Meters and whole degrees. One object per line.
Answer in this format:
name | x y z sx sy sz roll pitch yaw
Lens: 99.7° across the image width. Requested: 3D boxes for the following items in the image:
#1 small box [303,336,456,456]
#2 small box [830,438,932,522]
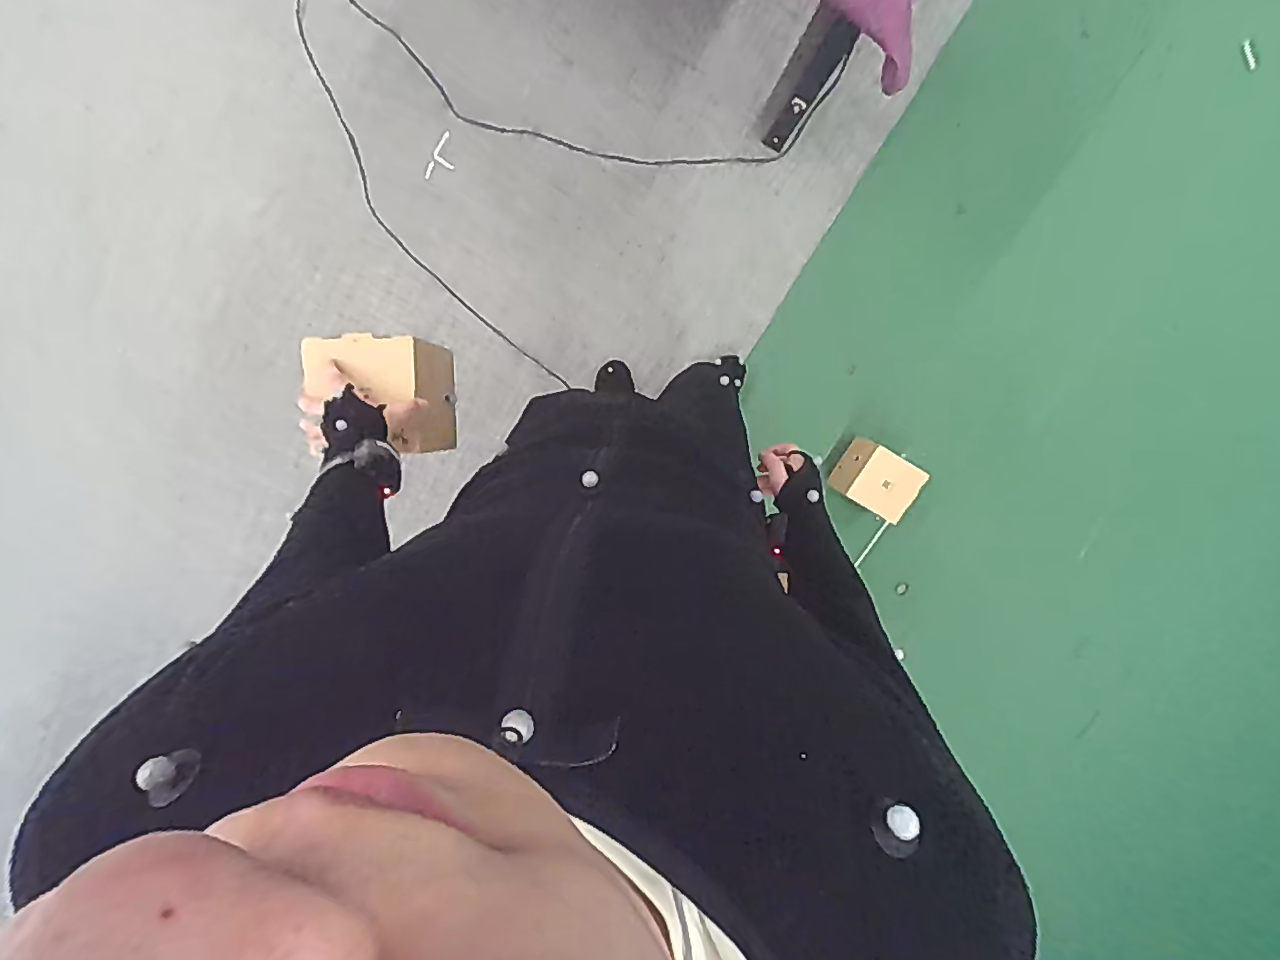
small box | -0.411 -0.130 0.877 0.168 0.176 0.179 -1 95 2
small box | 0.681 -0.009 1.551 0.179 0.176 0.168 29 102 -8
